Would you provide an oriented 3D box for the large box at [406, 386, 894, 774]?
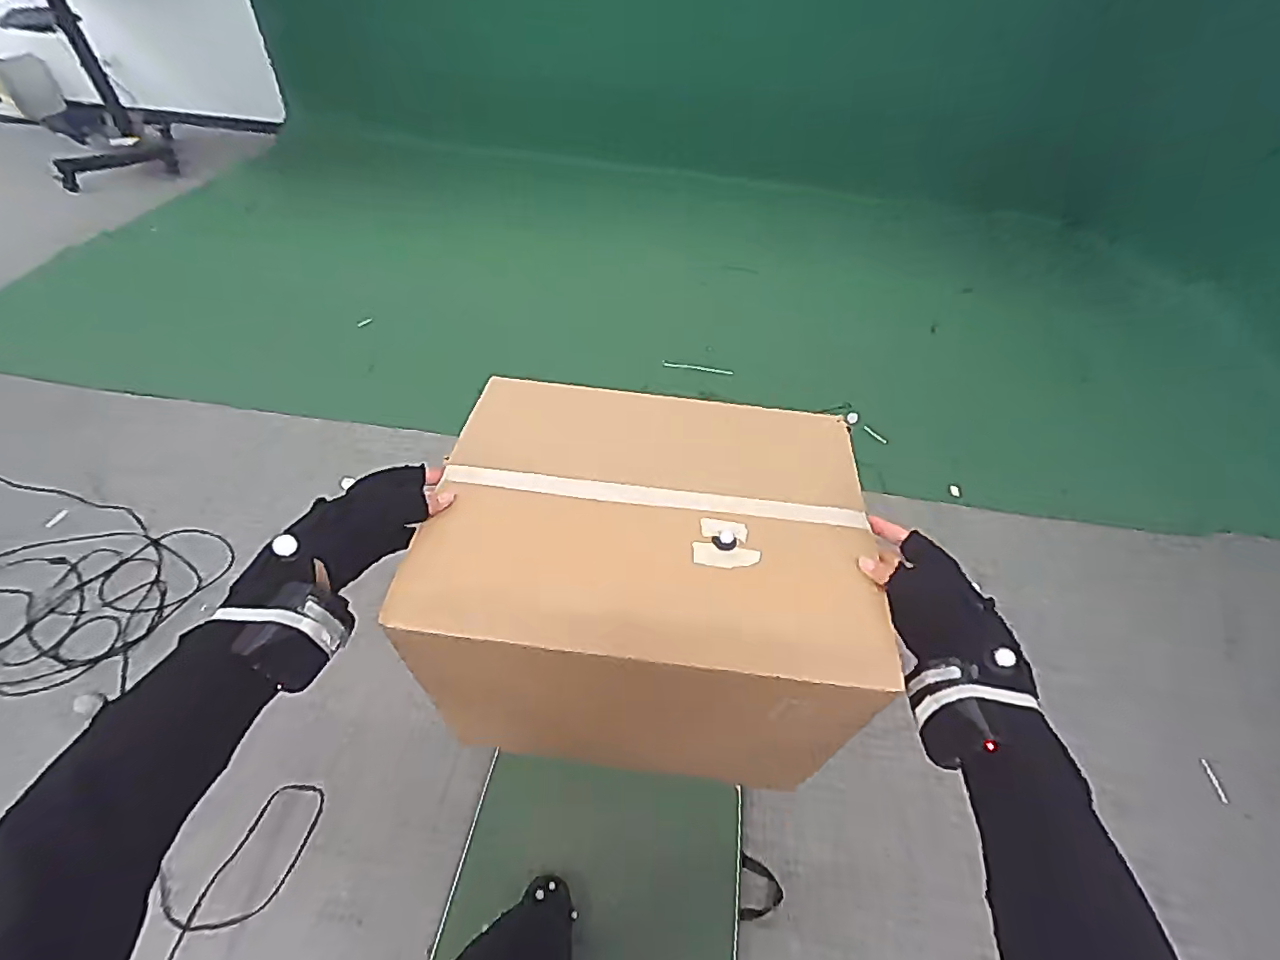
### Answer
[{"bbox_3d":[0.008,0.121,0.639,0.408,0.320,0.320,7,49,1],"label":"large box"}]
